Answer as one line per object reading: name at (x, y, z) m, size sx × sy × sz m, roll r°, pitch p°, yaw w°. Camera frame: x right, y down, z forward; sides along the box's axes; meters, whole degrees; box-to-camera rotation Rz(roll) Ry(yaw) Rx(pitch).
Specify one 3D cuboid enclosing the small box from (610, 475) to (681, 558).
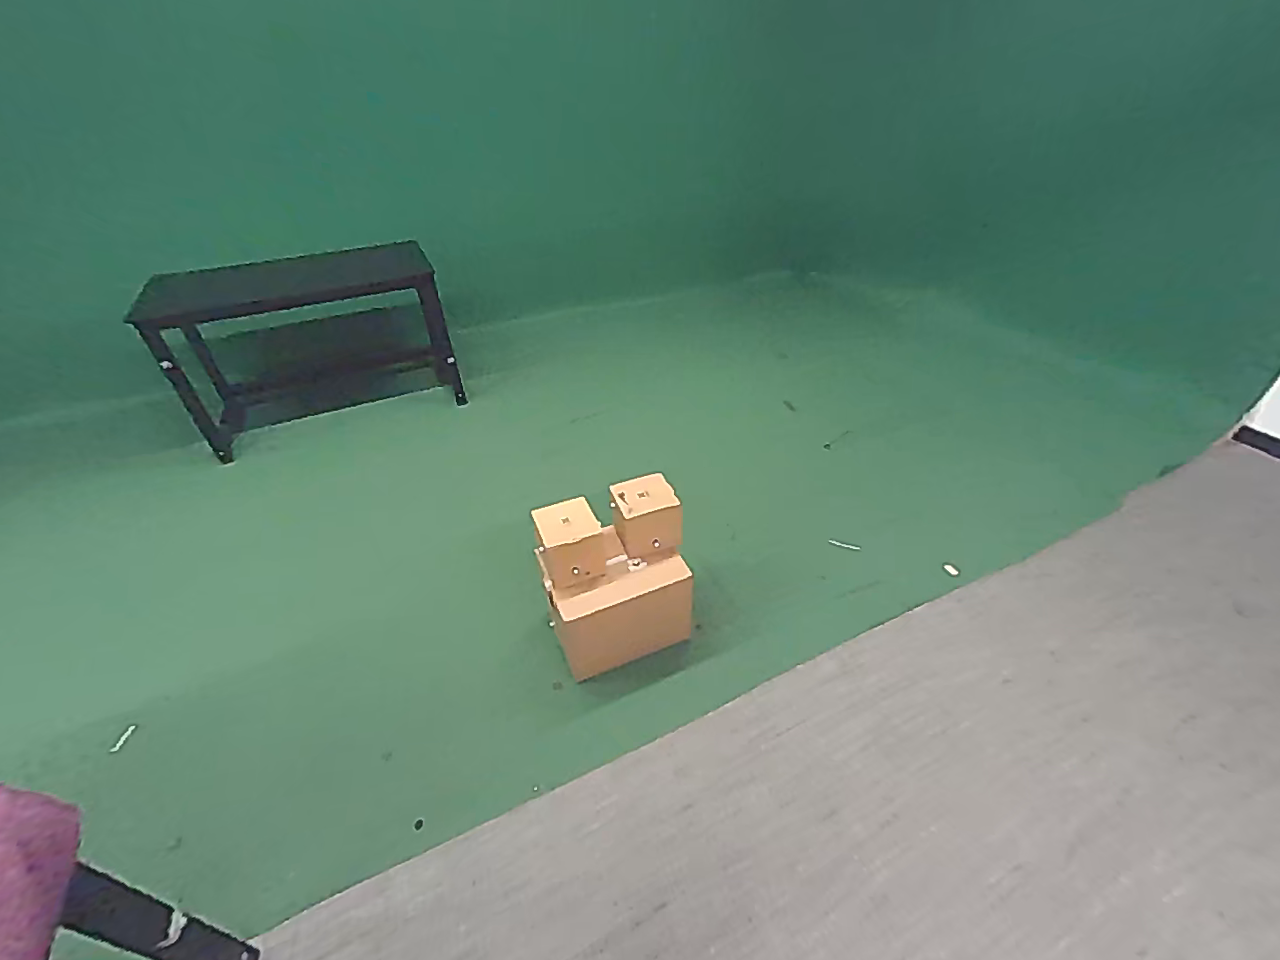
small box at (0.016, 0.114, 1.664) m, size 0.179 × 0.176 × 0.168 m, roll -14°, pitch 39°, yaw -14°

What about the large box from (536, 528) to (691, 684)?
large box at (-0.084, 0.377, 1.731) m, size 0.408 × 0.320 × 0.320 m, roll -16°, pitch 41°, yaw -18°

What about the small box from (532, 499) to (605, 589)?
small box at (-0.209, 0.187, 1.587) m, size 0.168 × 0.176 × 0.179 m, roll -16°, pitch 40°, yaw -18°
